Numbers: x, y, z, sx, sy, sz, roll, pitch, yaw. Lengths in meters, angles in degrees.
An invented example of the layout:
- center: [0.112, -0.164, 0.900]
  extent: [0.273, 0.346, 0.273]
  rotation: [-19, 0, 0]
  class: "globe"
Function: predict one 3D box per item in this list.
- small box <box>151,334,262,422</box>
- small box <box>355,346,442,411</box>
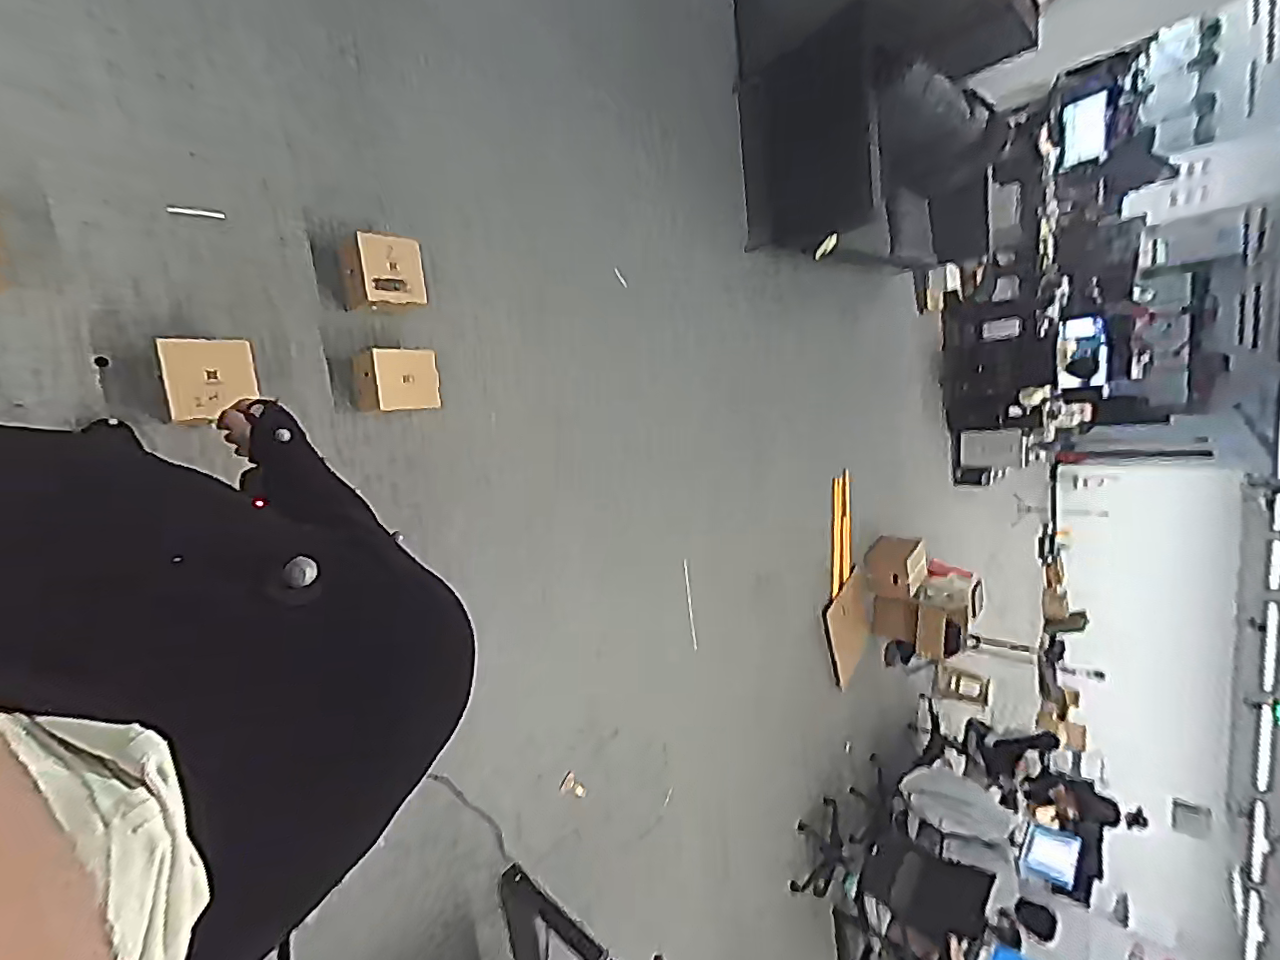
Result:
- center: [-1.001, -0.230, 1.246]
  extent: [0.168, 0.176, 0.179]
  rotation: [-12, 100, -44]
  class: "small box"
- center: [-0.699, -0.288, 1.553]
  extent: [0.179, 0.176, 0.168]
  rotation: [-12, 100, -45]
  class: "small box"
